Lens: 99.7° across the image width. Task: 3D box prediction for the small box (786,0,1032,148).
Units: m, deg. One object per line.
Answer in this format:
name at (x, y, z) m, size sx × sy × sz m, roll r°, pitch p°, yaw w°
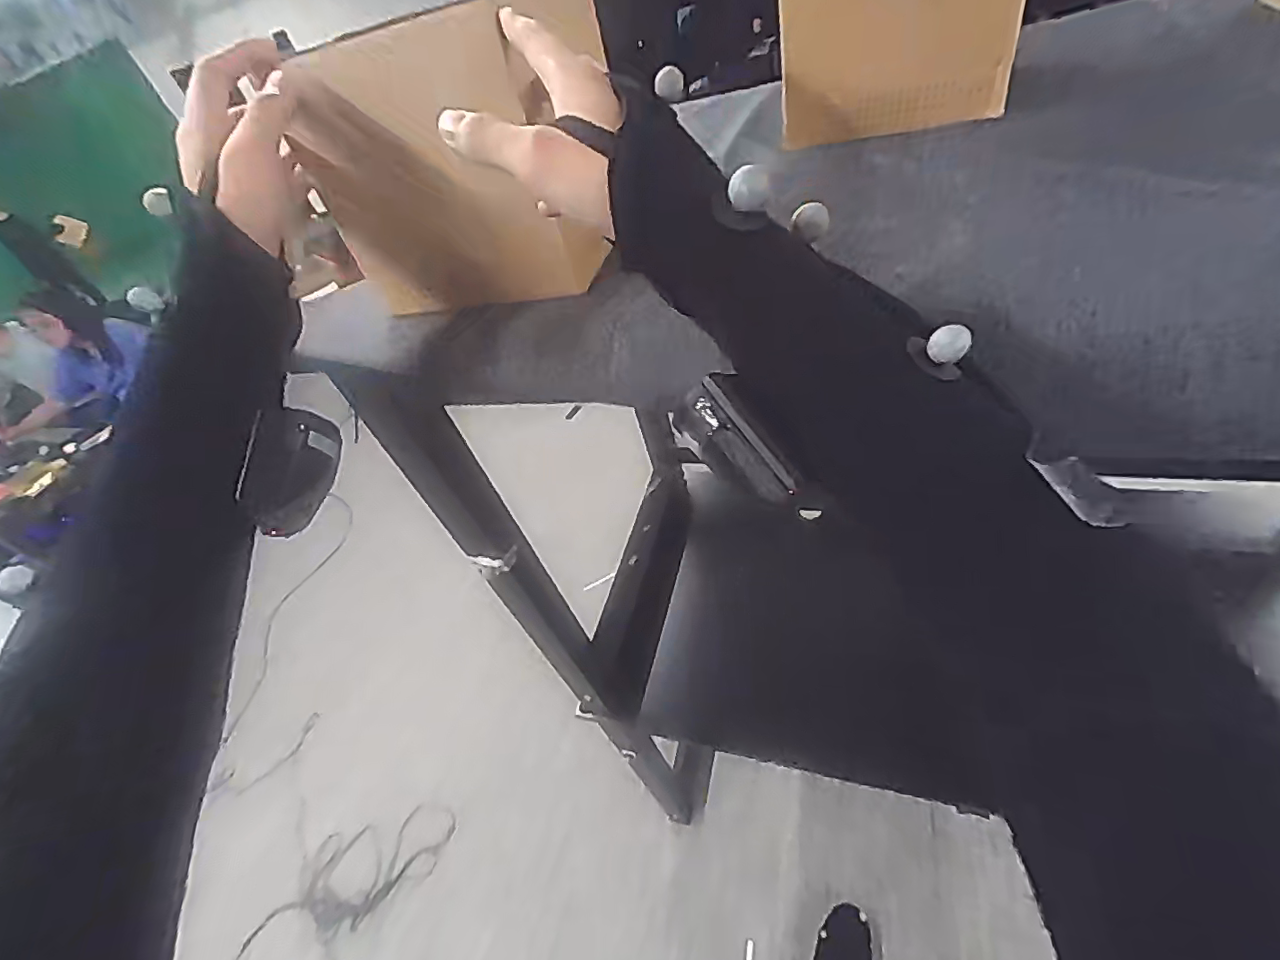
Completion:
small box at (0.230, -0.411, 0.460) m, size 0.179 × 0.176 × 0.168 m, roll 7°, pitch 49°, yaw 26°
